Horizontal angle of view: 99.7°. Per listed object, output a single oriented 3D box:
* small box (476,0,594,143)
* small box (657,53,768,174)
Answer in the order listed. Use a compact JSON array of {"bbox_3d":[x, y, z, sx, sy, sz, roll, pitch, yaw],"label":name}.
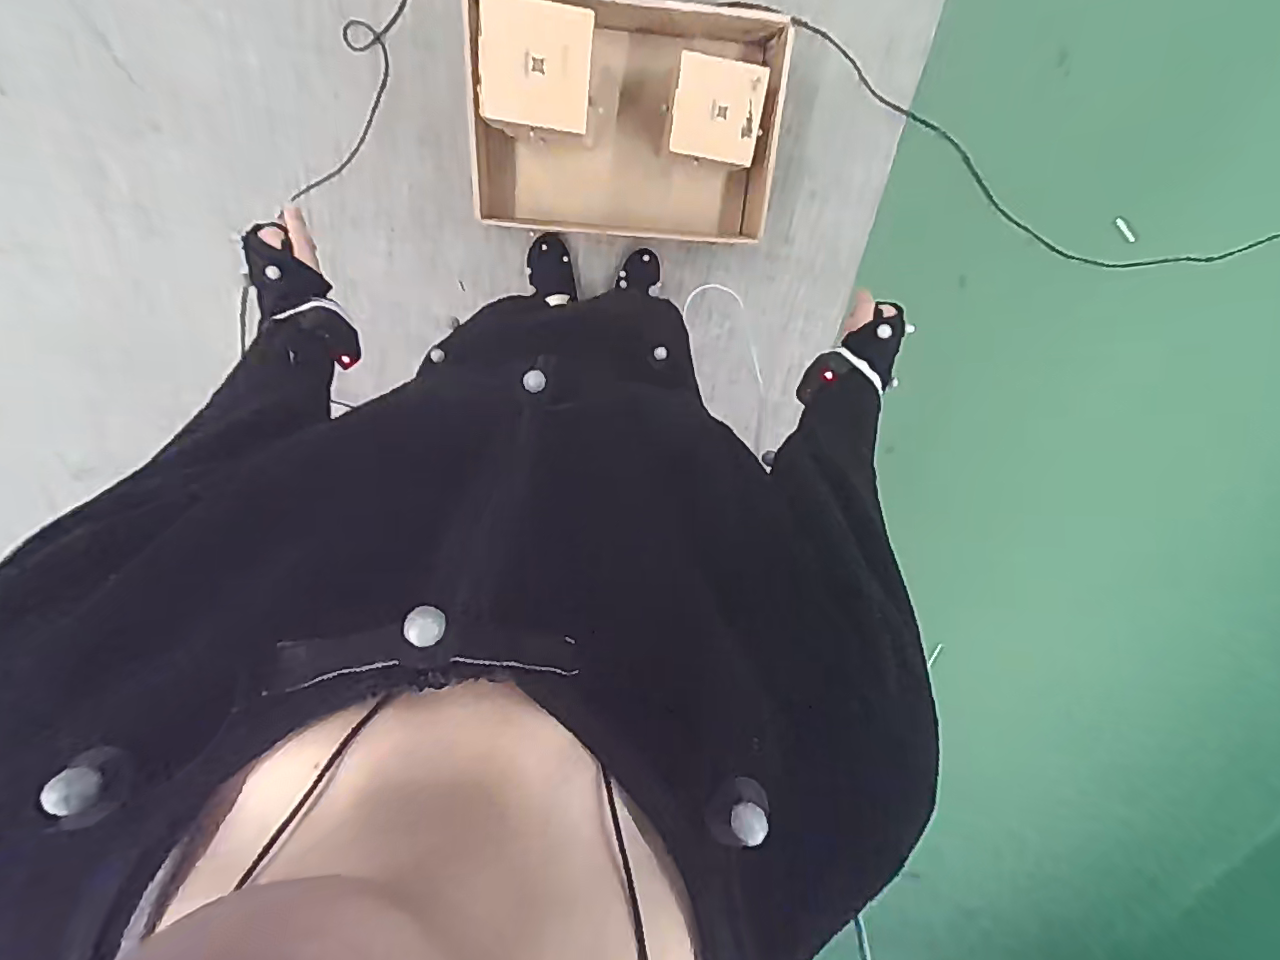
[{"bbox_3d":[-0.176,-0.688,0.922,0.179,0.176,0.168,5,117,-10],"label":"small box"},{"bbox_3d":[0.138,-0.741,1.114,0.179,0.176,0.168,6,115,-9],"label":"small box"}]
